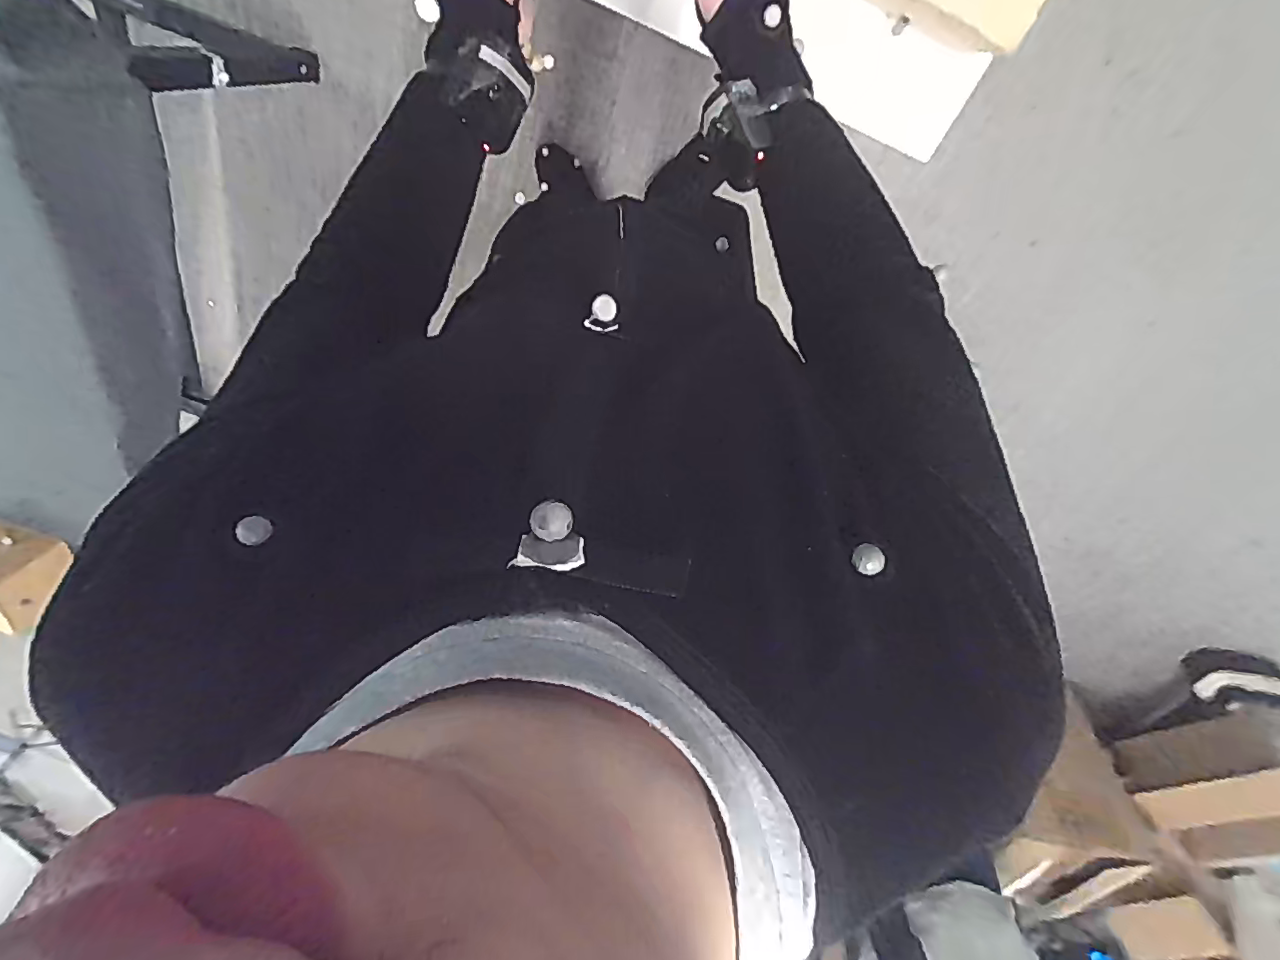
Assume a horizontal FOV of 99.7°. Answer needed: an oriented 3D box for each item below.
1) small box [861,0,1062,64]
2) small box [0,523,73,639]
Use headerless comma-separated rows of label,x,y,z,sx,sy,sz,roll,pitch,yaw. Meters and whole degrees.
small box,0.322,-0.535,0.514,0.179,0.176,0.168,22,128,-9
small box,-1.472,0.227,1.238,0.168,0.176,0.179,20,127,-7
